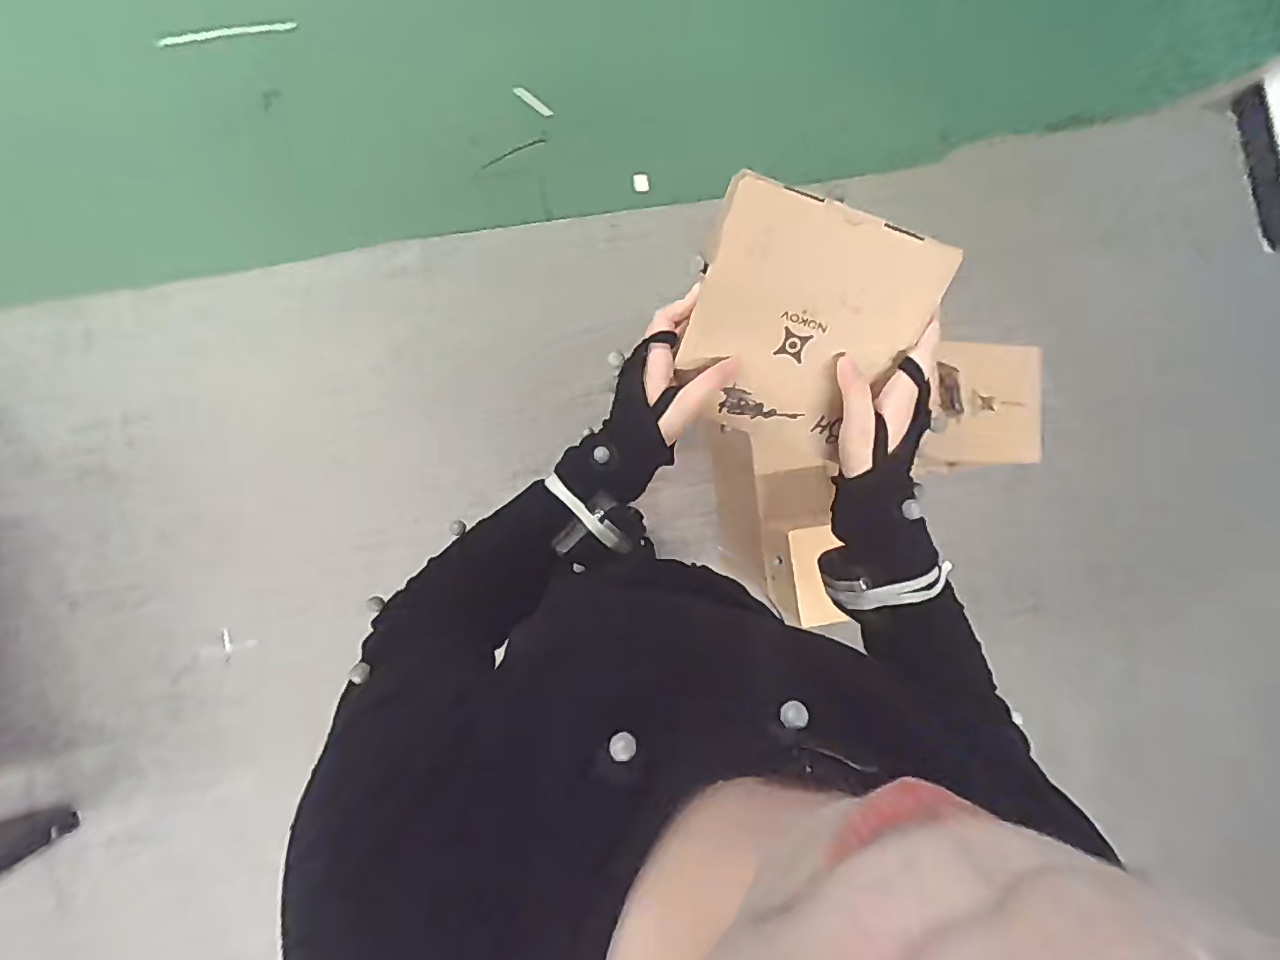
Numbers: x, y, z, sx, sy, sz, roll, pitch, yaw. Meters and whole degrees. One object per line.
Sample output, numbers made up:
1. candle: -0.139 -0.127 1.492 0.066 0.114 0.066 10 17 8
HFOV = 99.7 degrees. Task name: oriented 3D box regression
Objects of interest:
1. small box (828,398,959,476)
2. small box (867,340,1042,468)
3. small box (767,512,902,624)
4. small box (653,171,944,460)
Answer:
1. small box: 0.454 -0.098 0.990 0.168 0.176 0.179 0 89 -3
2. small box: 0.466 -0.106 0.826 0.179 0.176 0.168 2 88 -5
3. small box: 0.338 0.151 0.977 0.179 0.176 0.168 -8 89 -3
4. small box: 0.118 -0.148 0.478 0.168 0.176 0.179 18 118 -2
